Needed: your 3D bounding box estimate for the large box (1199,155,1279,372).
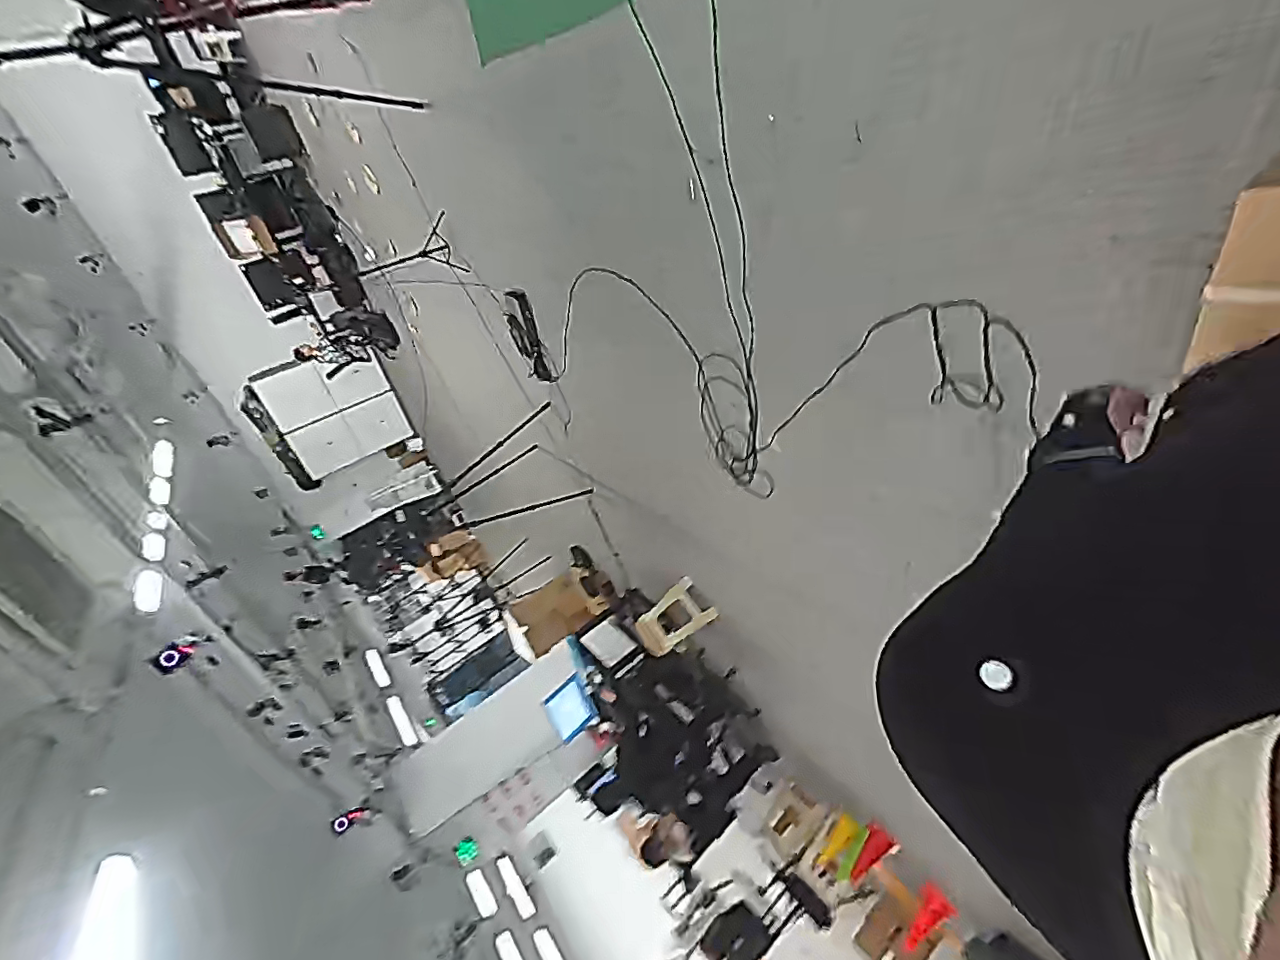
[{"bbox_3d":[1.208,-0.355,0.827,0.408,0.320,0.320,25,140,47],"label":"large box"}]
